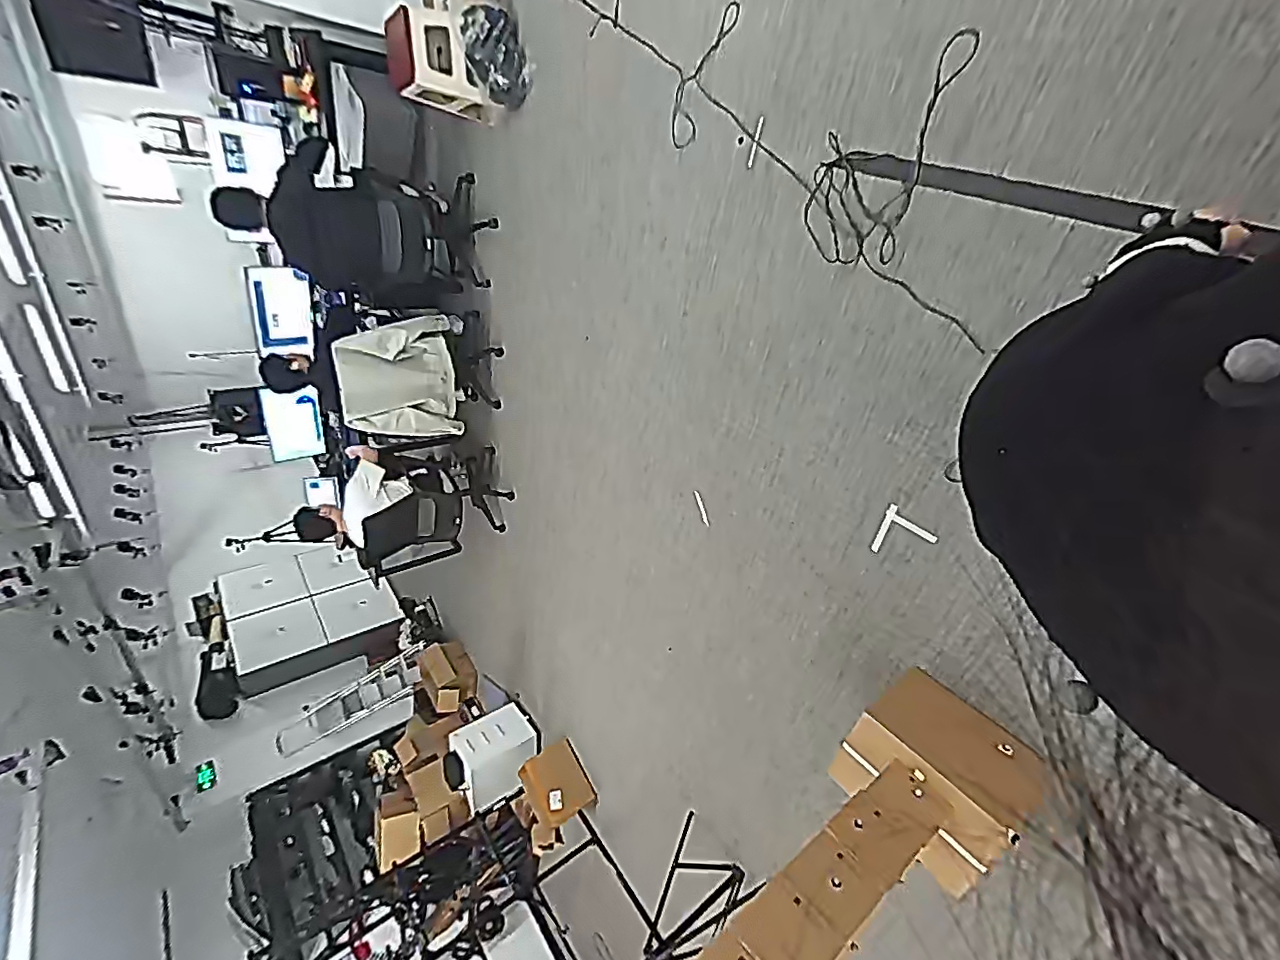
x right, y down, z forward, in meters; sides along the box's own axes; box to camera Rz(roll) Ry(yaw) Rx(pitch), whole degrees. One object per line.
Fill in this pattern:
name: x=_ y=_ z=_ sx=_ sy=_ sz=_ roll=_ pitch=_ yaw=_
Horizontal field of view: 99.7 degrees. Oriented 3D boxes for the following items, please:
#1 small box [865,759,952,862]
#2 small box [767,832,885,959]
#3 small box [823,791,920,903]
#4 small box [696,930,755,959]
small box: x=0.664 y=0.867 z=1.390 sx=0.168 sy=0.176 sz=0.179 roll=37 pitch=129 yaw=39
small box: x=0.411 y=0.935 z=1.195 sx=0.168 sy=0.176 sz=0.179 roll=33 pitch=126 yaw=44
small box: x=0.537 y=0.895 z=1.293 sx=0.168 sy=0.176 sz=0.179 roll=37 pitch=130 yaw=41
small box: x=0.157 y=1.000 z=0.998 sx=0.168 sy=0.176 sz=0.179 roll=28 pitch=122 yaw=45
